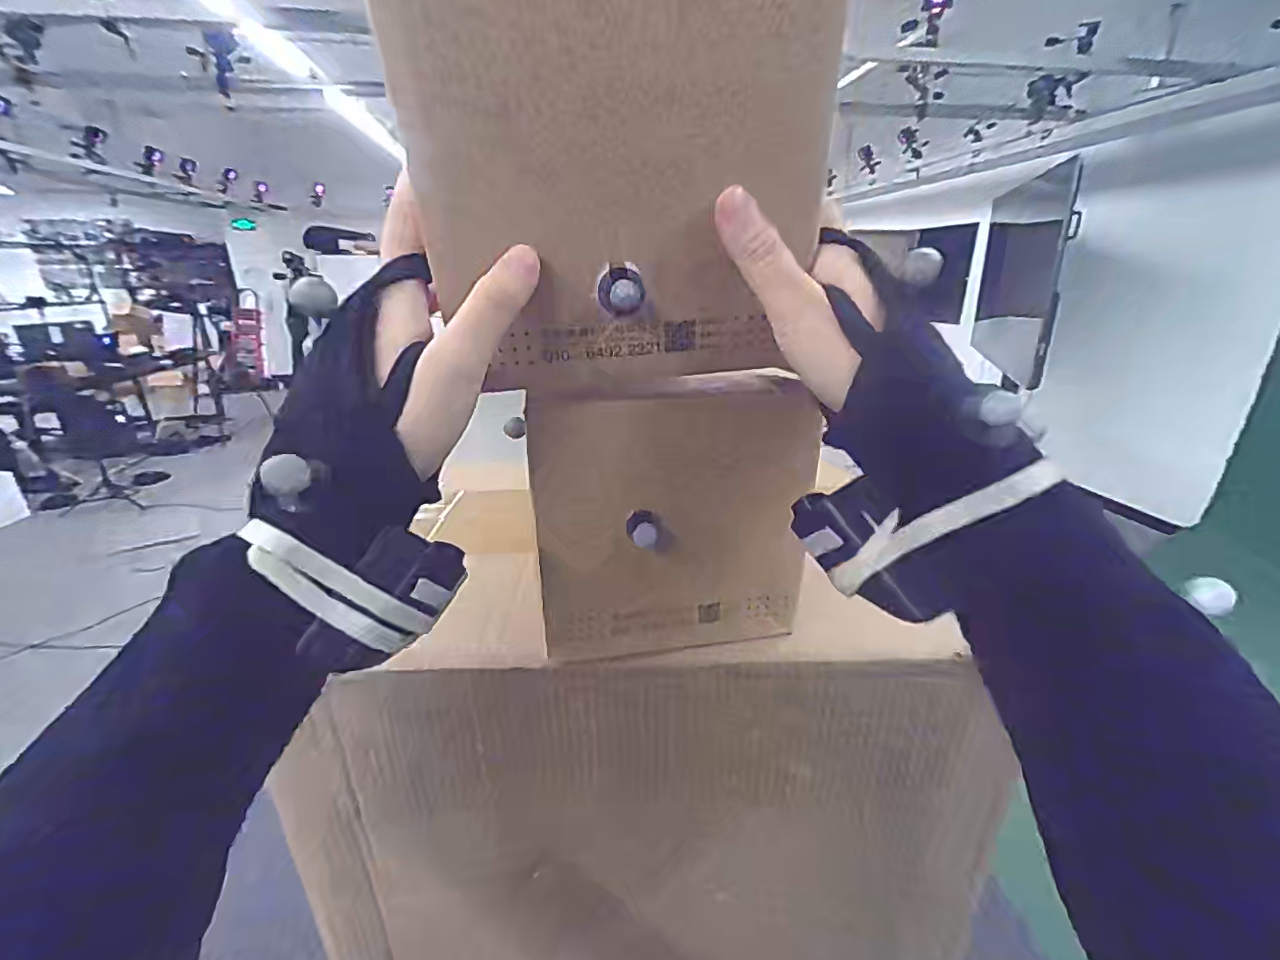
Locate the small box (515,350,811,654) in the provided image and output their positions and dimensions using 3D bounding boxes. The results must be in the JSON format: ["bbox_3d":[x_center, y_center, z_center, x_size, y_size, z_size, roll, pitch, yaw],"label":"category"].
[{"bbox_3d":[0.004,0.008,0.392,0.168,0.176,0.179,-5,23,-10],"label":"small box"}]
